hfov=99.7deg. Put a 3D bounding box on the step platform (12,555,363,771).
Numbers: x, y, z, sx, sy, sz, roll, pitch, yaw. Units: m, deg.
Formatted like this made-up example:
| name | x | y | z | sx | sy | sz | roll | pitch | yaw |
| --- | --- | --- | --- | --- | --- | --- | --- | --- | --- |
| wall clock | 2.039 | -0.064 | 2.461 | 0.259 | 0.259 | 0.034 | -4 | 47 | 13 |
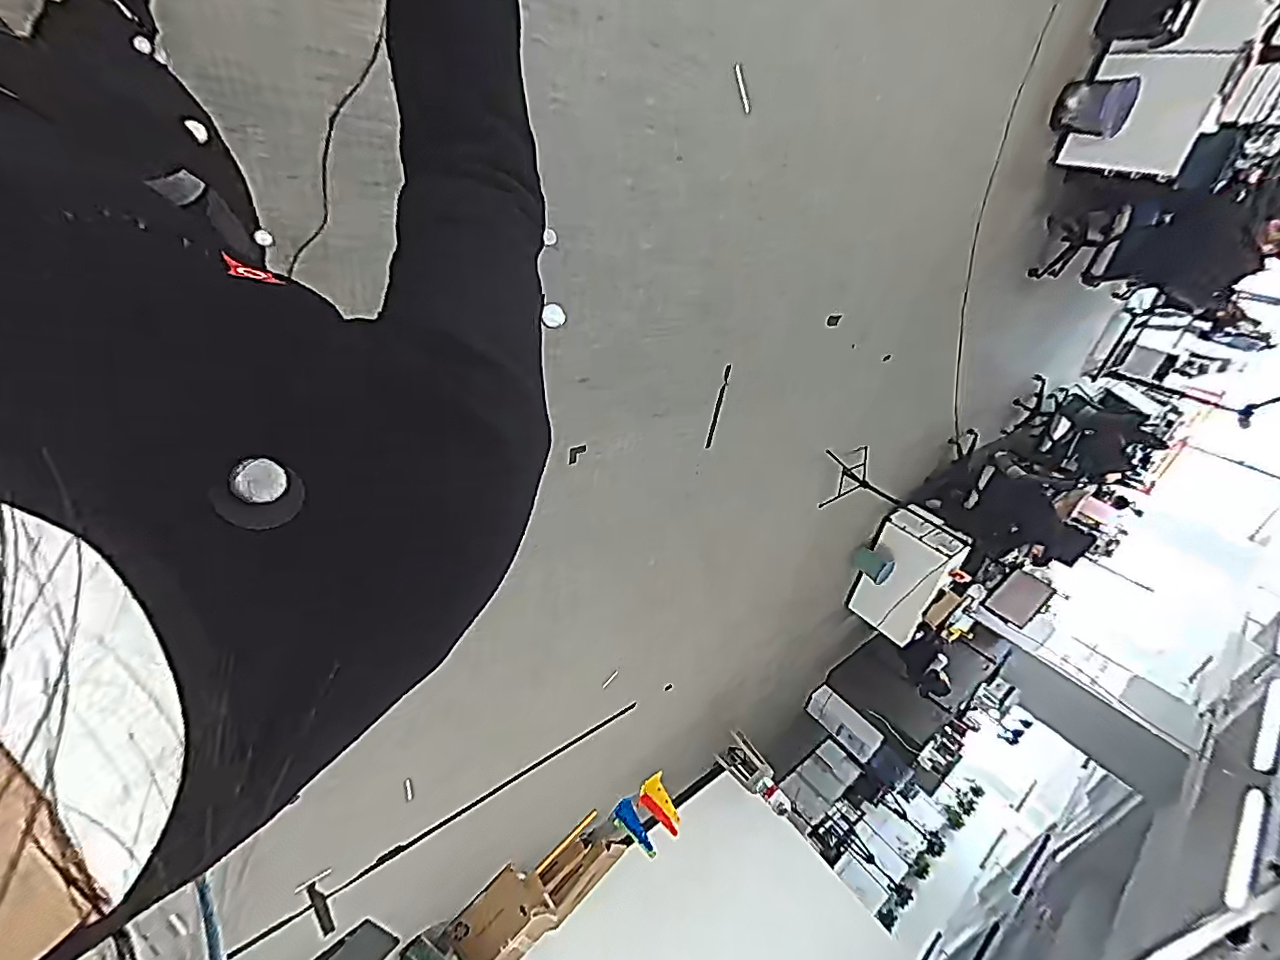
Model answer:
| name | x | y | z | sx | sy | sz | roll | pitch | yaw |
| --- | --- | --- | --- | --- | --- | --- | --- | --- | --- |
| step platform | -1.106 | 0.449 | 1.406 | 0.684 | 0.204 | 0.286 | -16 | 129 | -34 |
